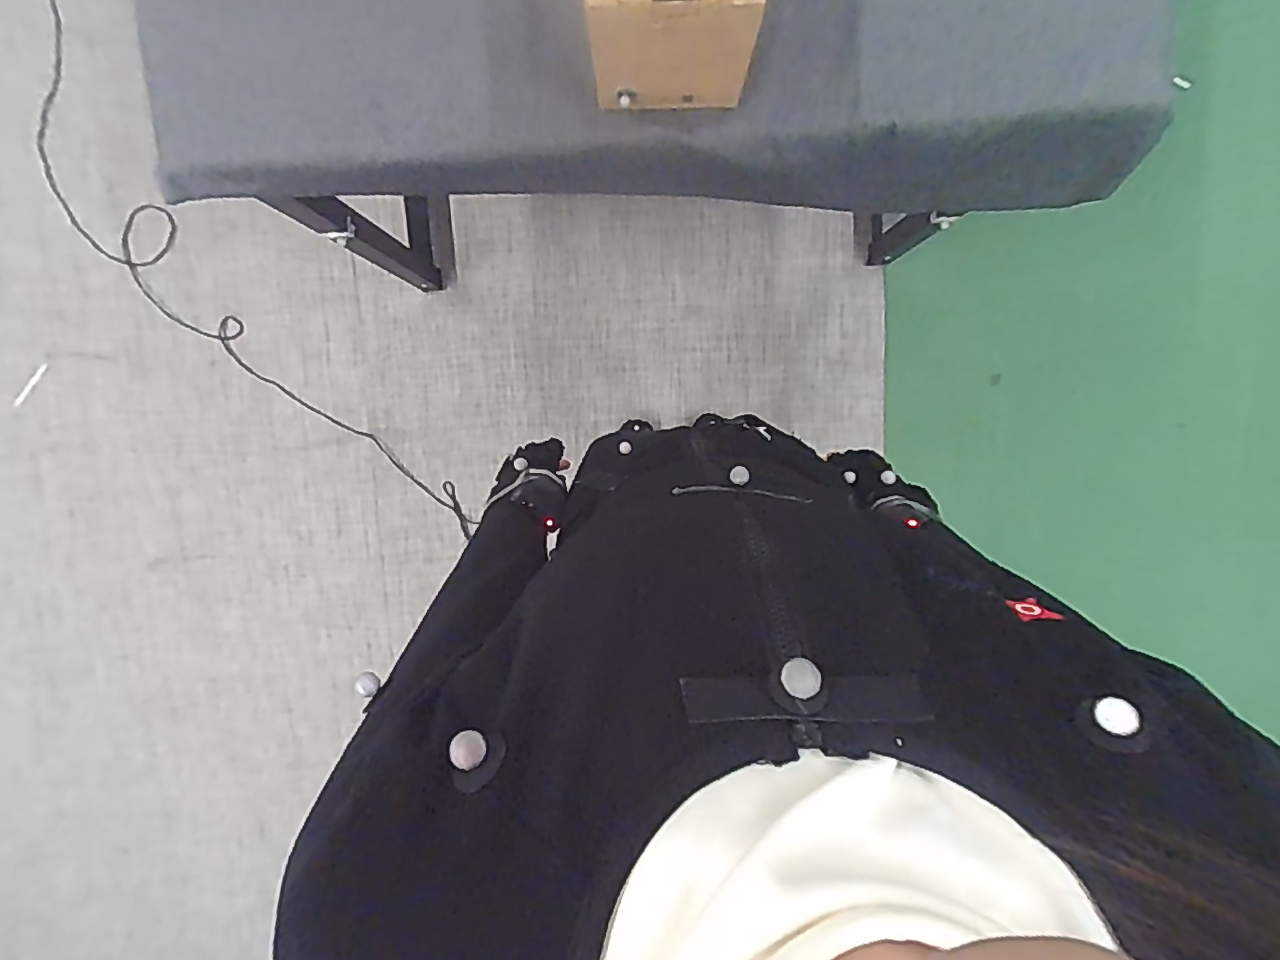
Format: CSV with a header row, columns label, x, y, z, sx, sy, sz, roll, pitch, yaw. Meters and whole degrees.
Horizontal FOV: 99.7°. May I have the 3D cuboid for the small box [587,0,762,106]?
label,x,y,z,sx,sy,sz,roll,pitch,yaw
small box,0.035,-0.526,0.564,0.168,0.176,0.179,1,95,0
